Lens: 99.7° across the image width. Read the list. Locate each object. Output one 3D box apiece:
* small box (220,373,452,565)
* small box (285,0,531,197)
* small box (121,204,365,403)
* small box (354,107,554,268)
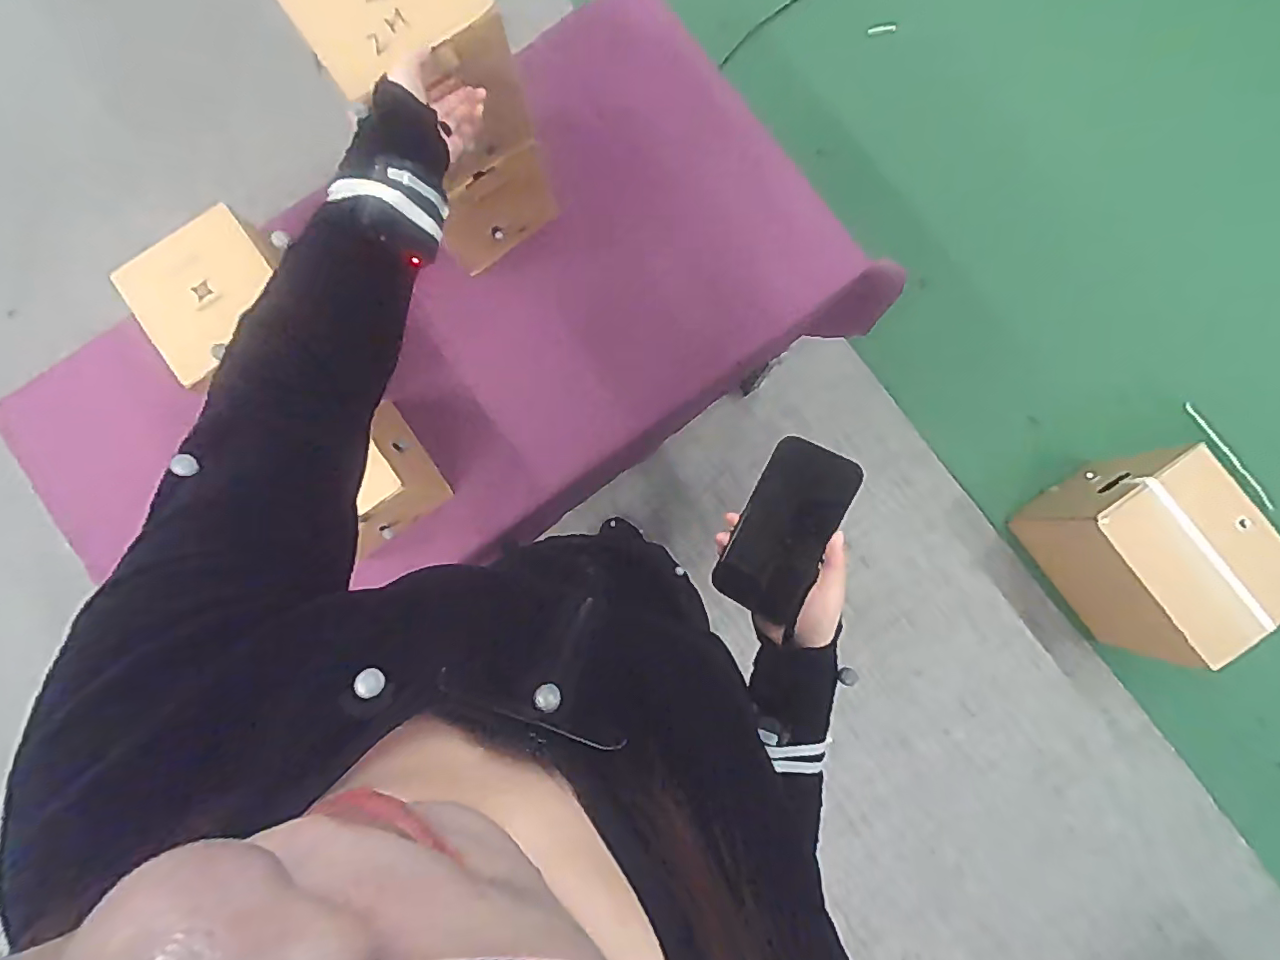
[{"bbox_3d":[-0.383,-0.010,0.718,0.168,0.176,0.179,-35,86,-3],"label":"small box"},{"bbox_3d":[-0.244,-0.458,0.586,0.168,0.176,0.179,-36,87,-2],"label":"small box"},{"bbox_3d":[-0.520,-0.222,0.738,0.168,0.176,0.179,-36,86,-3],"label":"small box"},{"bbox_3d":[-0.243,-0.435,0.750,0.168,0.176,0.179,-38,87,-2],"label":"small box"}]
